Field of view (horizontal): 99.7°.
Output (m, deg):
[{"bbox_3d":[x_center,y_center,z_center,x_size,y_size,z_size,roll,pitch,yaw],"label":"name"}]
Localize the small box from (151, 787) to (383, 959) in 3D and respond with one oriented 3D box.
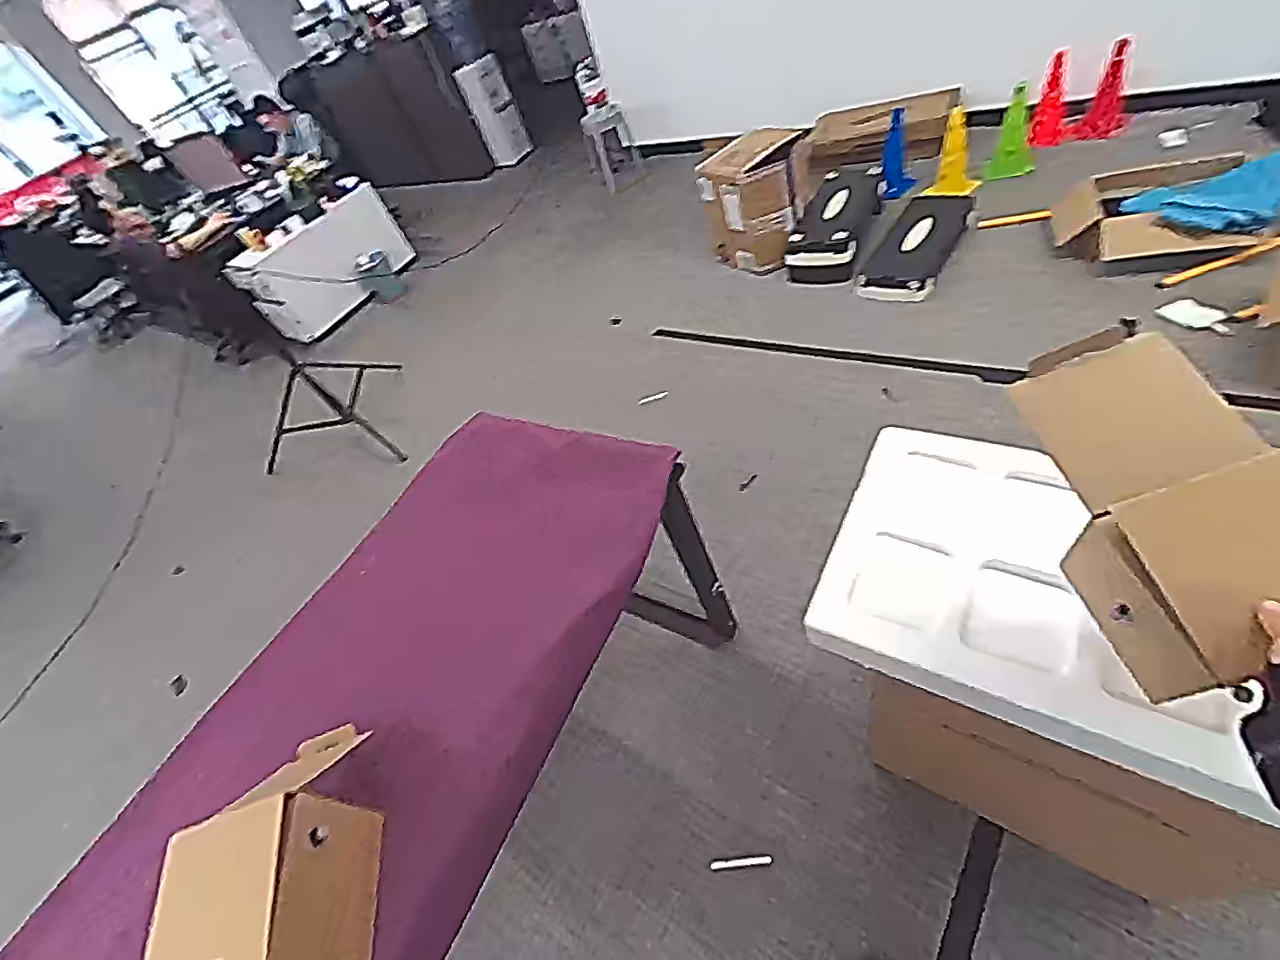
[{"bbox_3d":[-0.457,0.529,0.691,0.168,0.176,0.179,-23,46,5],"label":"small box"}]
